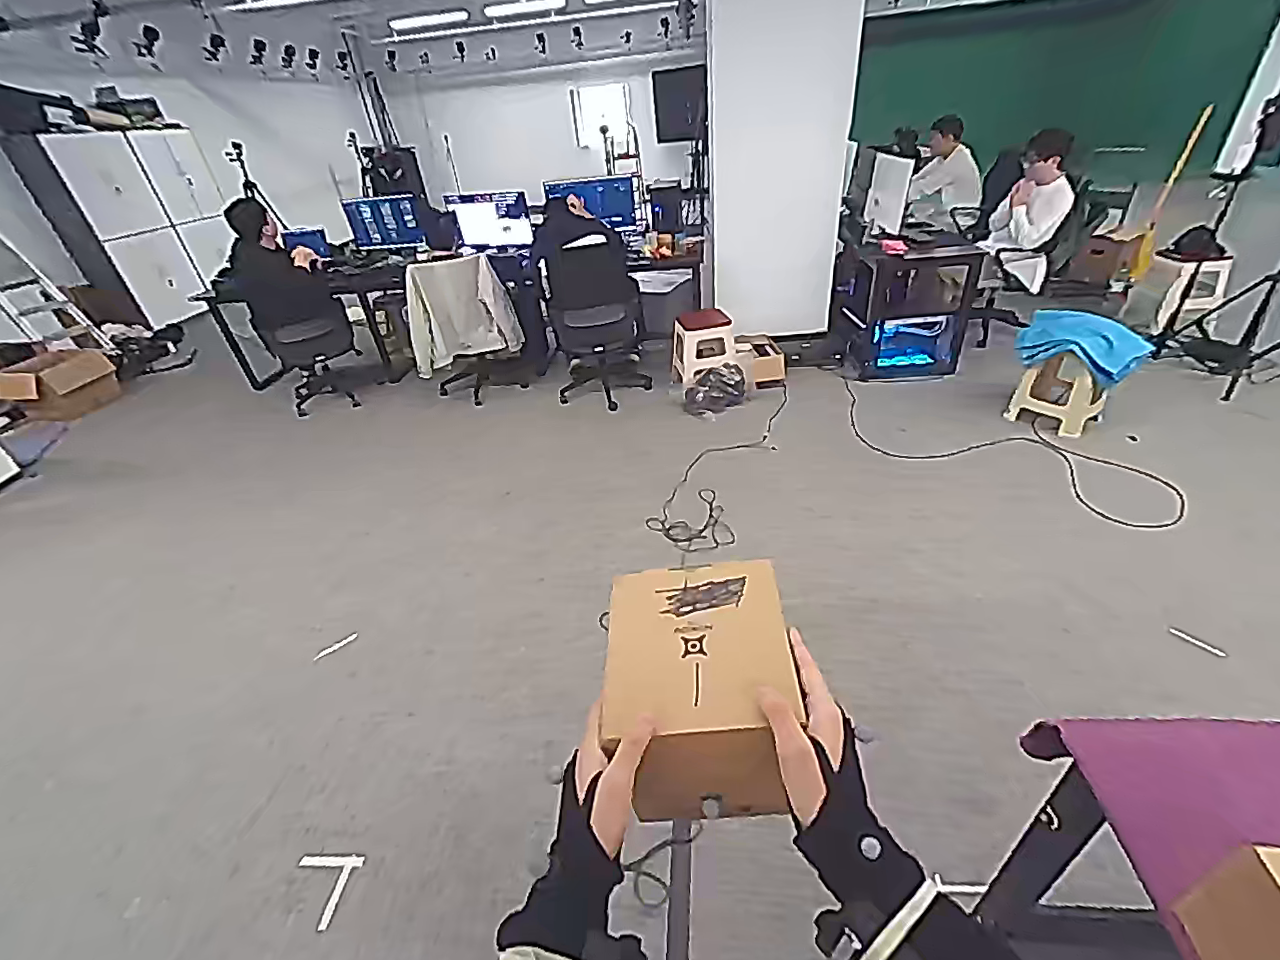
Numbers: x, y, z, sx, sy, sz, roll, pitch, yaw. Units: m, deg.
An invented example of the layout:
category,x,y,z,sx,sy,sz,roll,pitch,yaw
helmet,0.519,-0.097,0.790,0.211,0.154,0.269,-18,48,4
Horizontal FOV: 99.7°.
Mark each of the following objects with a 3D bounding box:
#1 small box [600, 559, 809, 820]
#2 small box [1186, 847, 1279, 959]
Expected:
category,x,y,z,sx,sy,sz,roll,pitch,yaw
small box,0.065,0.205,0.534,0.168,0.176,0.179,-8,37,8
small box,0.672,0.473,0.487,0.168,0.176,0.179,1,35,10
